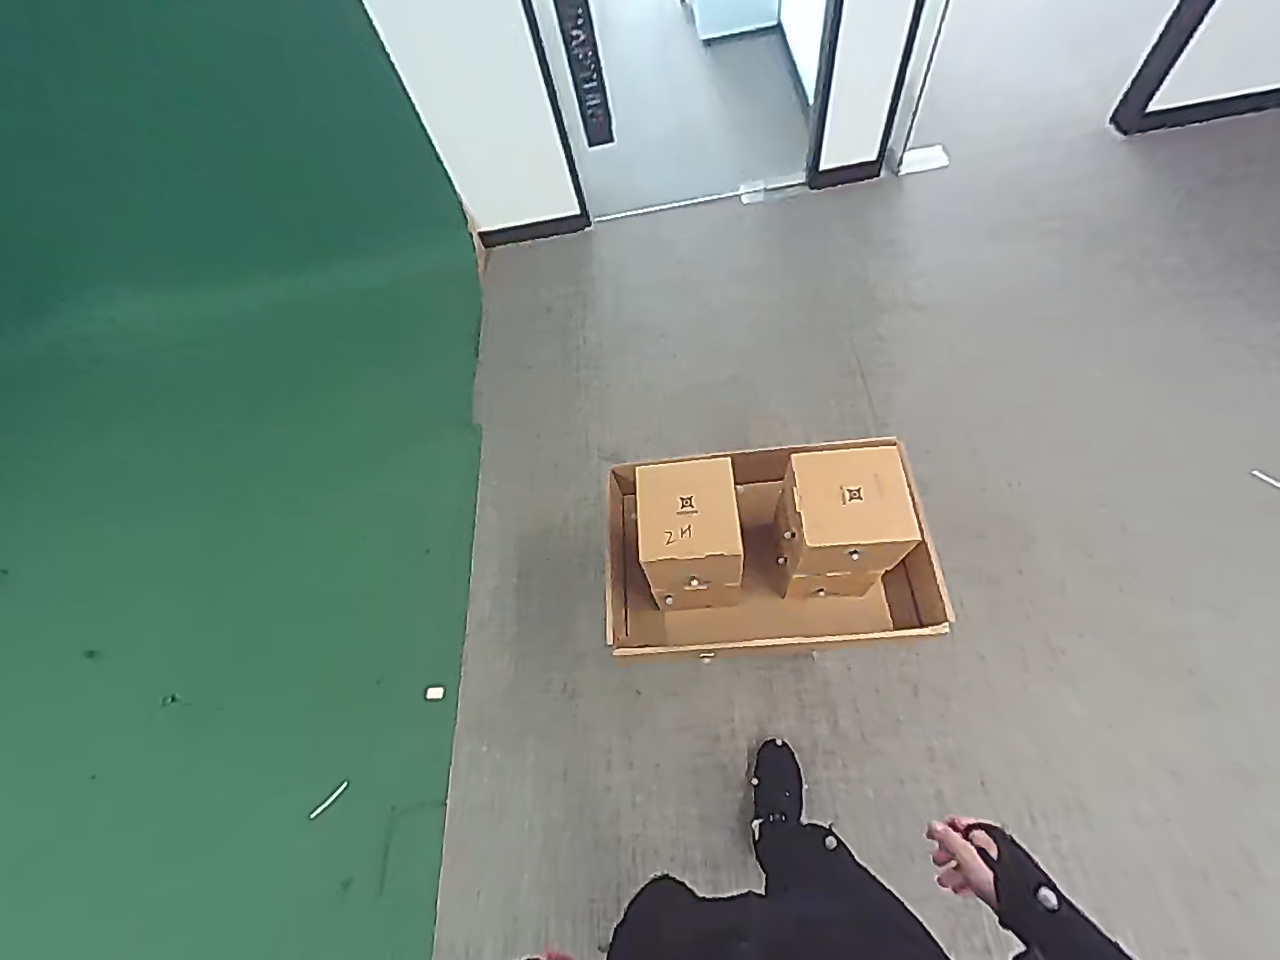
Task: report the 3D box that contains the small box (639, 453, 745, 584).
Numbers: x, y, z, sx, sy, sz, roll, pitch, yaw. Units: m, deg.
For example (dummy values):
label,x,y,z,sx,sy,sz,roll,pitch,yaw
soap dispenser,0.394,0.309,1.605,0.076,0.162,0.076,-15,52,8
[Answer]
label,x,y,z,sx,sy,sz,roll,pitch,yaw
small box,0.090,0.073,0.953,0.168,0.176,0.179,-5,63,6

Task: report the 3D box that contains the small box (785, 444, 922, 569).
label,x,y,z,sx,sy,sz,roll,pitch,yaw
small box,0.350,0.052,0.927,0.179,0.176,0.168,-3,65,6
